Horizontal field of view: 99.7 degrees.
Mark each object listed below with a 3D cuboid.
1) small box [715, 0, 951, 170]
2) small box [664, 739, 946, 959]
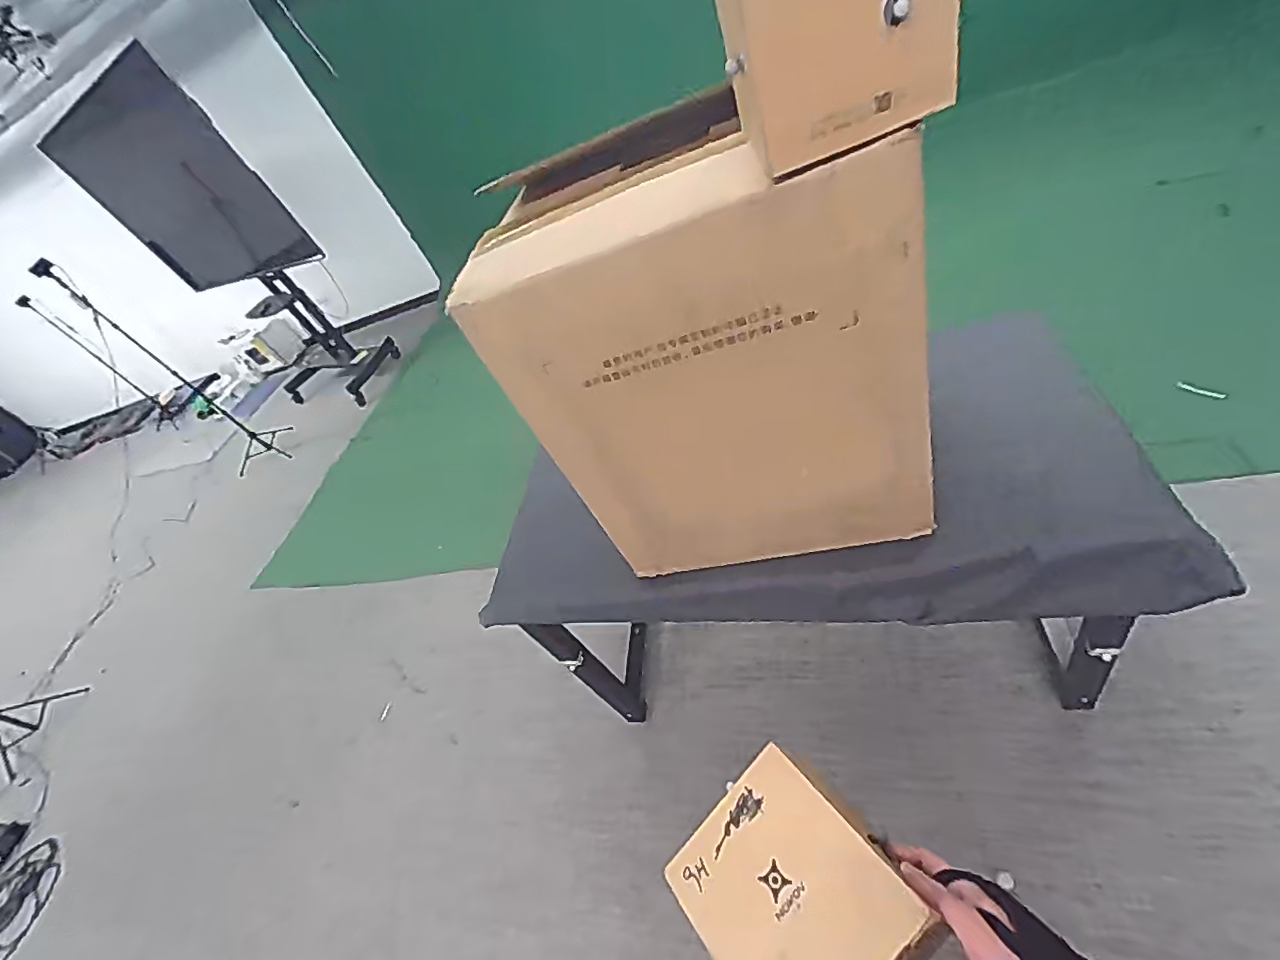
[{"bbox_3d":[0.170,-0.416,0.498,0.168,0.176,0.179,-15,43,13],"label":"small box"},{"bbox_3d":[0.163,0.389,0.522,0.168,0.176,0.179,-48,43,-4],"label":"small box"}]
